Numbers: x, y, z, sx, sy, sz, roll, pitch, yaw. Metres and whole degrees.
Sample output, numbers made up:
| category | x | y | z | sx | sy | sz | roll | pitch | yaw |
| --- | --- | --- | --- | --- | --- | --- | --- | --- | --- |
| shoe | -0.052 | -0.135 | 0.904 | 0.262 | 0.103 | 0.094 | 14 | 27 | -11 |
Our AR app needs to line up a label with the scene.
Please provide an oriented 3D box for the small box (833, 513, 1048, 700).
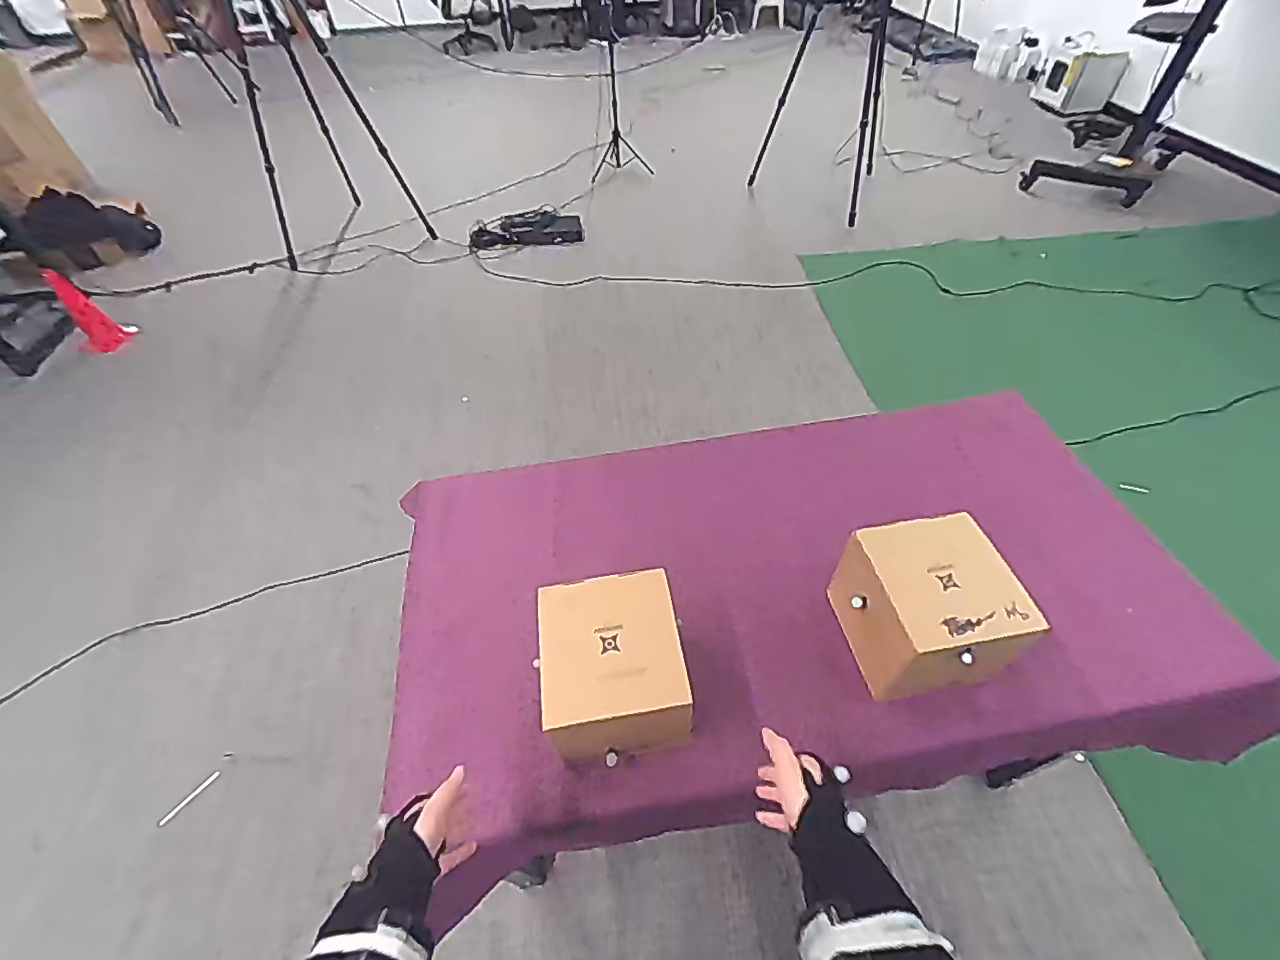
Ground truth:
| category | x | y | z | sx | sy | sz | roll | pitch | yaw |
| --- | --- | --- | --- | --- | --- | --- | --- | --- | --- |
| small box | 0.382 | 0.172 | 0.732 | 0.168 | 0.176 | 0.179 | -9 | 49 | -3 |

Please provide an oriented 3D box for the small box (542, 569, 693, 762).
| category | x | y | z | sx | sy | sz | roll | pitch | yaw |
| --- | --- | --- | --- | --- | --- | --- | --- | --- | --- |
| small box | -0.031 | 0.241 | 0.699 | 0.168 | 0.176 | 0.179 | -8 | 51 | -3 |
